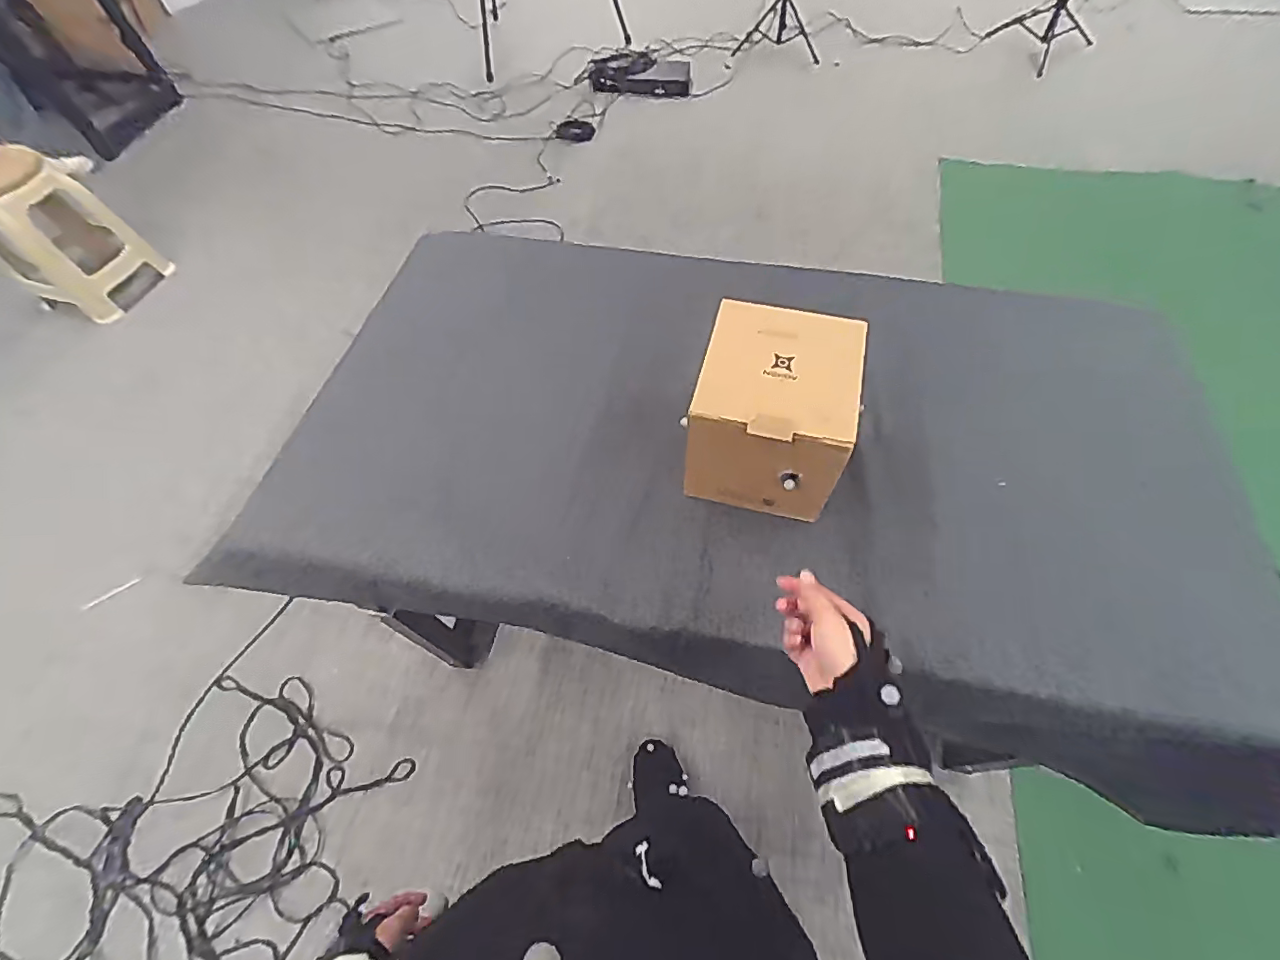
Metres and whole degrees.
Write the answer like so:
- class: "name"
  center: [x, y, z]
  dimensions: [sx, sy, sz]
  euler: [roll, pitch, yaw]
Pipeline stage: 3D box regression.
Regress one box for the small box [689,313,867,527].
- class: "small box"
  center: [0.155, -0.065, 0.641]
  dimensions: [0.168, 0.176, 0.179]
  euler: [12, 58, 9]
